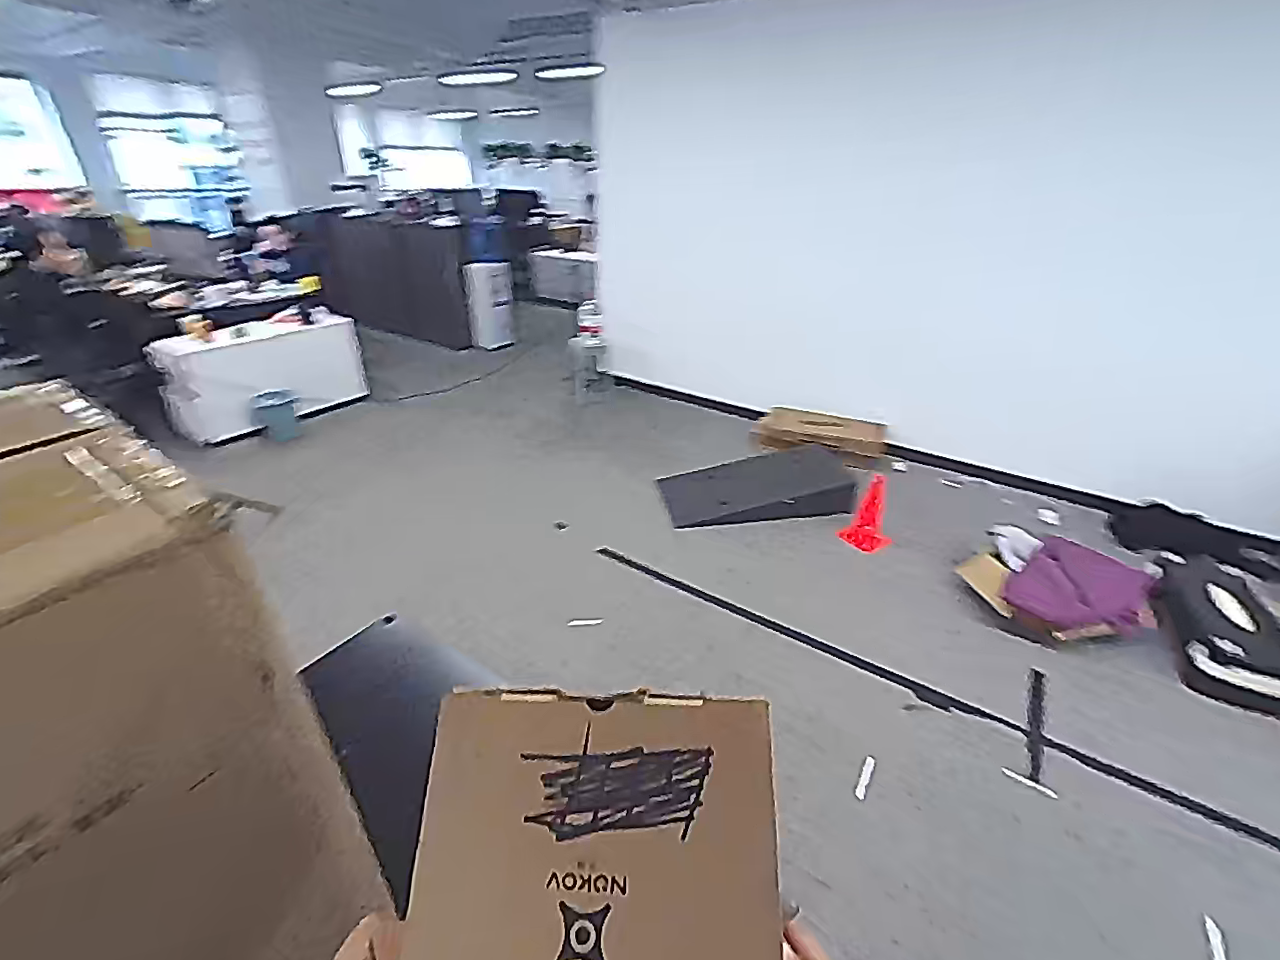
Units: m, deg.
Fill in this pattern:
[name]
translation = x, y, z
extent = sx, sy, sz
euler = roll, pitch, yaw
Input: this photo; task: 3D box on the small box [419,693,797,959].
[small box]
translation = -0.005, 0.226, 0.309
extent = 0.168, 0.176, 0.179
euler = -2, 63, 9
